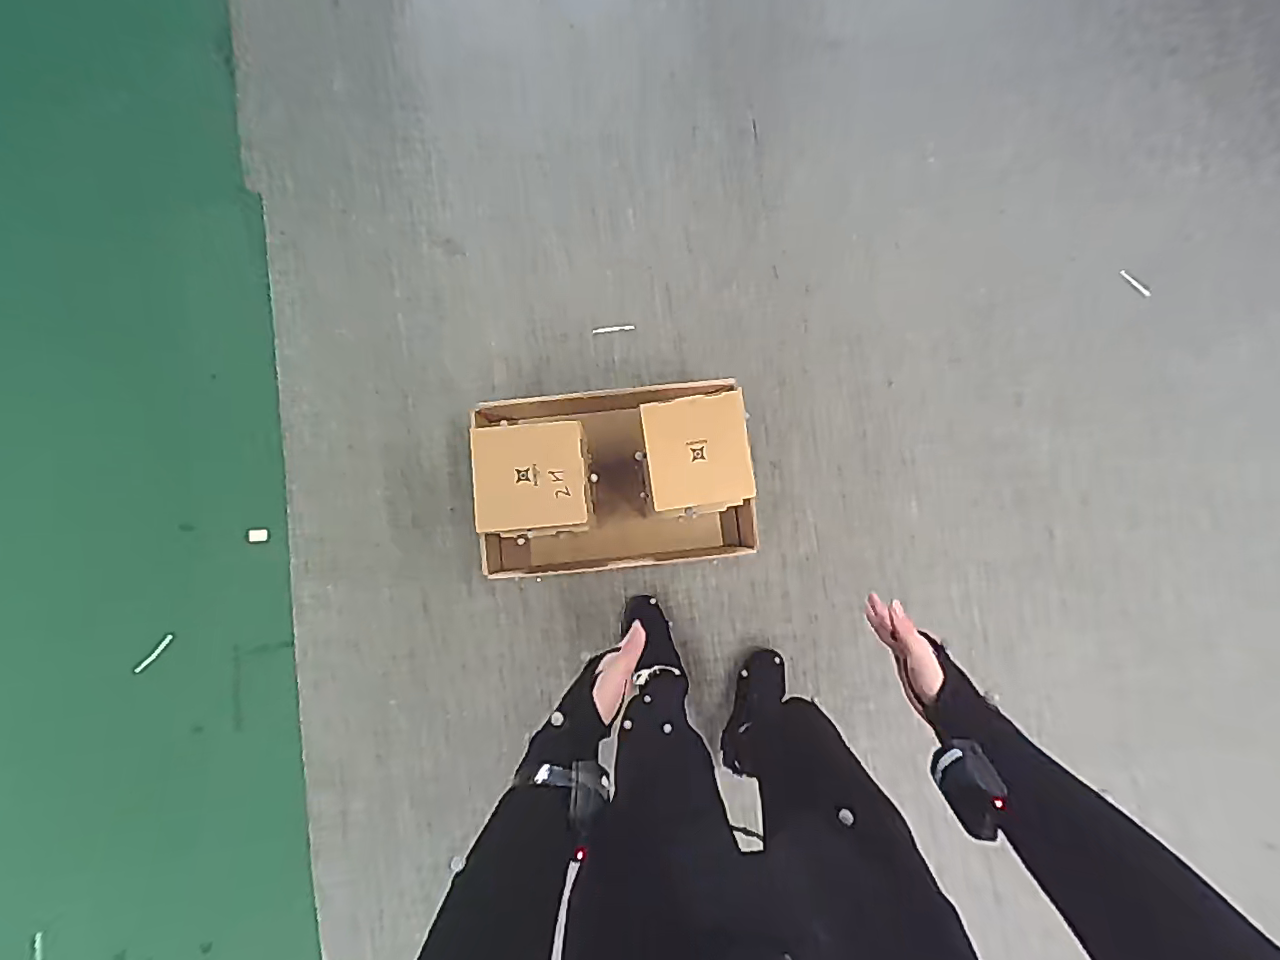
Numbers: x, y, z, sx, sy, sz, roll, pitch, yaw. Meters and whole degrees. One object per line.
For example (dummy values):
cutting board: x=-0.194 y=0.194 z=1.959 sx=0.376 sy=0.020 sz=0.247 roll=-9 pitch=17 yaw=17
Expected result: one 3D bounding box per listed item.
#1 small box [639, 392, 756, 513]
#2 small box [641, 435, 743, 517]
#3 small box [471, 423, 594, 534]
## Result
small box: x=0.093 y=-0.040 z=0.933 sx=0.168 sy=0.176 sz=0.179 roll=-9 pitch=86 yaw=0
small box: x=0.099 y=-0.015 z=1.094 sx=0.179 sy=0.176 sz=0.168 roll=-8 pitch=87 yaw=-1
small box: x=-0.175 y=0.004 z=0.919 sx=0.179 sy=0.176 sz=0.168 roll=-4 pitch=84 yaw=-3
